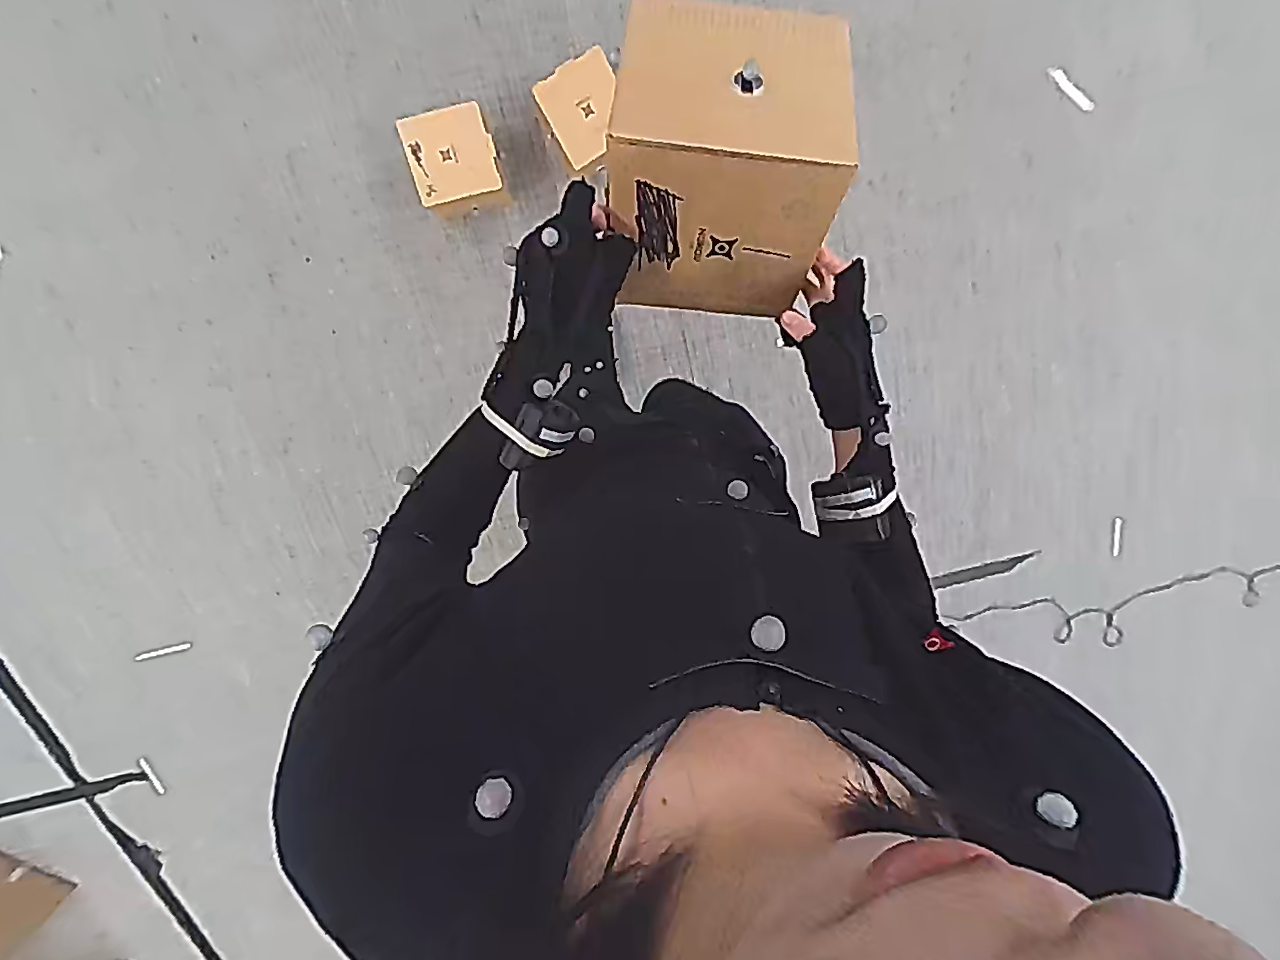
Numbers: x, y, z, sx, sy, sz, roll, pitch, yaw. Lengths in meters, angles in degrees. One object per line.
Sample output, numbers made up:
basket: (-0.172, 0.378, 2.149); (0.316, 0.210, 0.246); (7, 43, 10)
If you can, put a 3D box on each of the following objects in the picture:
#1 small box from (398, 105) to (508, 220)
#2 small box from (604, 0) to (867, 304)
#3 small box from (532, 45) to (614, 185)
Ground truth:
small box: (-0.397, -0.689, 1.189); (0.179, 0.176, 0.168); (-15, 108, -2)
small box: (0.067, -0.279, 0.458); (0.179, 0.168, 0.176); (6, 68, -1)
small box: (-0.117, -0.789, 1.190); (0.168, 0.176, 0.179); (-31, 108, 5)
